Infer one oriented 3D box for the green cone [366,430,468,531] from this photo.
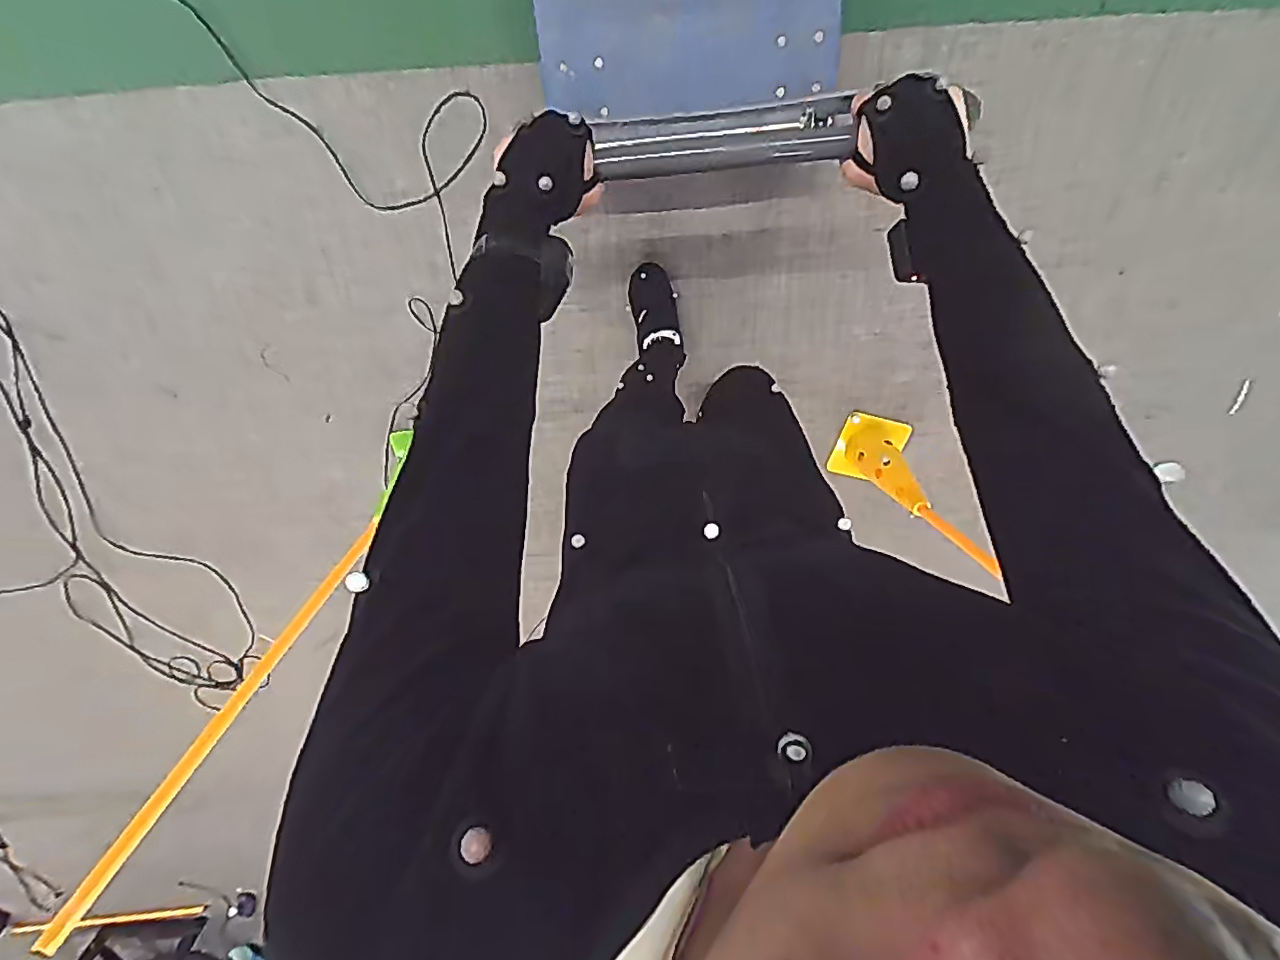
[{"bbox_3d":[-0.648,0.024,1.497,0.202,0.368,0.200,-5,118,6],"label":"green cone"}]
